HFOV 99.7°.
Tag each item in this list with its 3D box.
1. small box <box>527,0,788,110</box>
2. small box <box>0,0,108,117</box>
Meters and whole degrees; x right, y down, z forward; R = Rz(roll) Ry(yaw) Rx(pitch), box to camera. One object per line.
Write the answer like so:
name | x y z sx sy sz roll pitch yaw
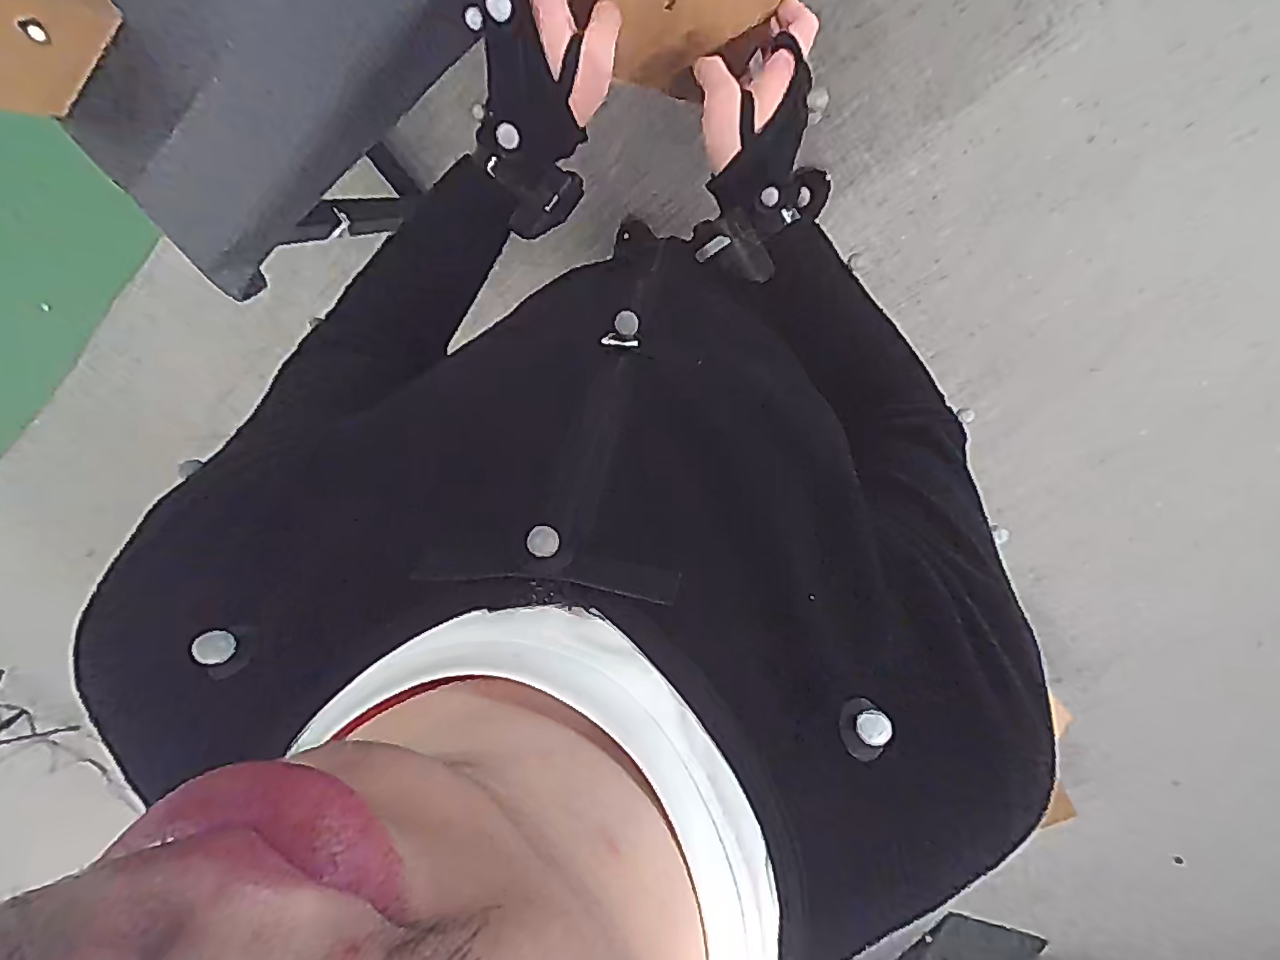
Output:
small box | 0.016 -0.424 0.392 0.179 0.168 0.176 1 78 -19
small box | -0.751 -0.537 0.586 0.179 0.176 0.168 -28 108 20
